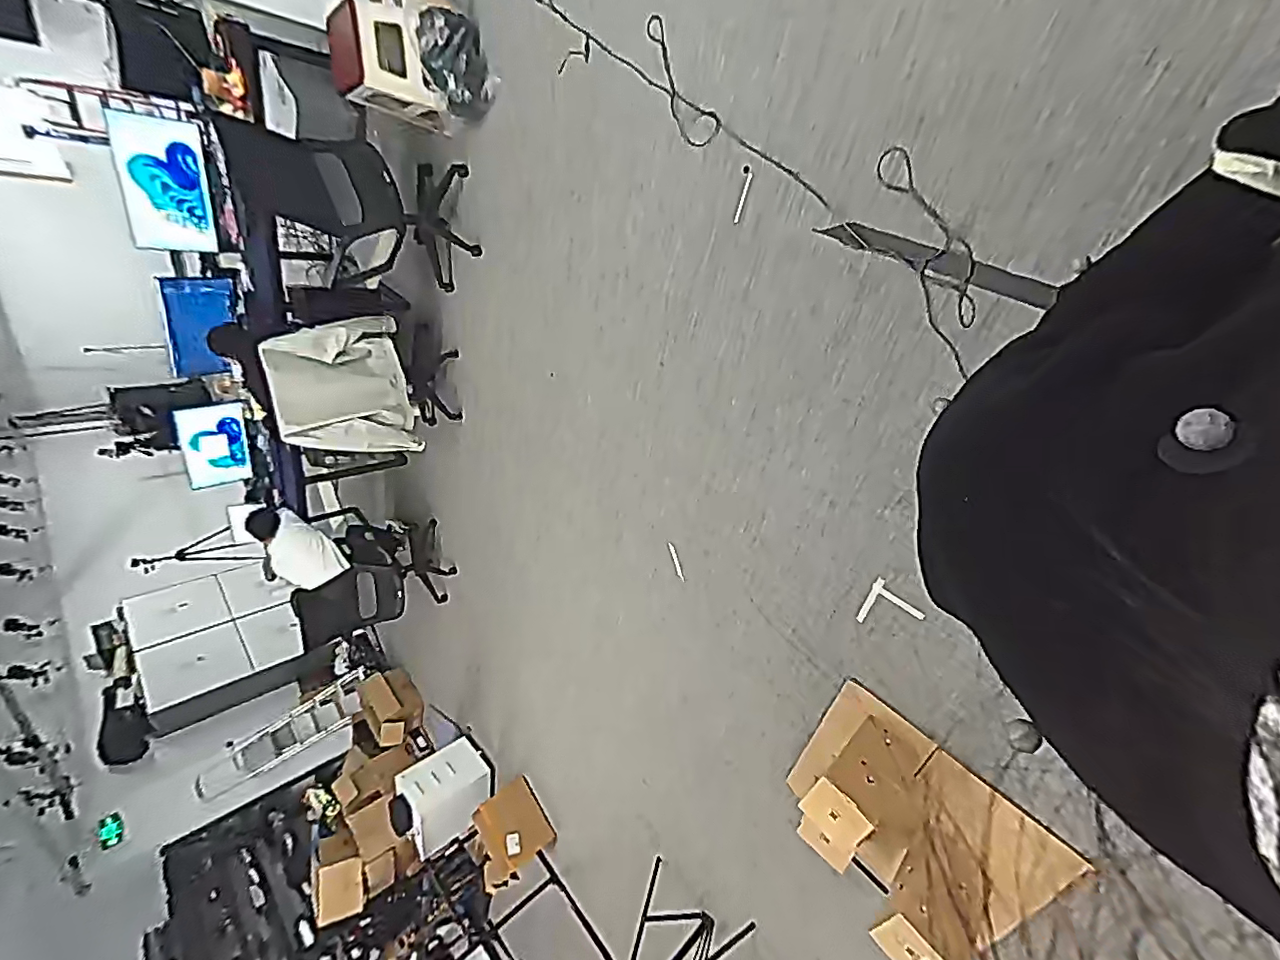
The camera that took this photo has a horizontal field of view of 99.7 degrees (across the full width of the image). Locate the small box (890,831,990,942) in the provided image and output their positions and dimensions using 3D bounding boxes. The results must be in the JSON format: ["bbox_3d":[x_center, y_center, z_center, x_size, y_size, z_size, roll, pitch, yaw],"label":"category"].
[{"bbox_3d":[0.880,1.184,1.582,0.179,0.176,0.168,44,130,26],"label":"small box"}]

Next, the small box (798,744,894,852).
[{"bbox_3d":[0.593,0.904,1.549,0.168,0.176,0.179,40,127,30],"label":"small box"}]

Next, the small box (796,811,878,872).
[{"bbox_3d":[0.658,1.139,1.803,0.179,0.176,0.168,33,126,36],"label":"small box"}]
